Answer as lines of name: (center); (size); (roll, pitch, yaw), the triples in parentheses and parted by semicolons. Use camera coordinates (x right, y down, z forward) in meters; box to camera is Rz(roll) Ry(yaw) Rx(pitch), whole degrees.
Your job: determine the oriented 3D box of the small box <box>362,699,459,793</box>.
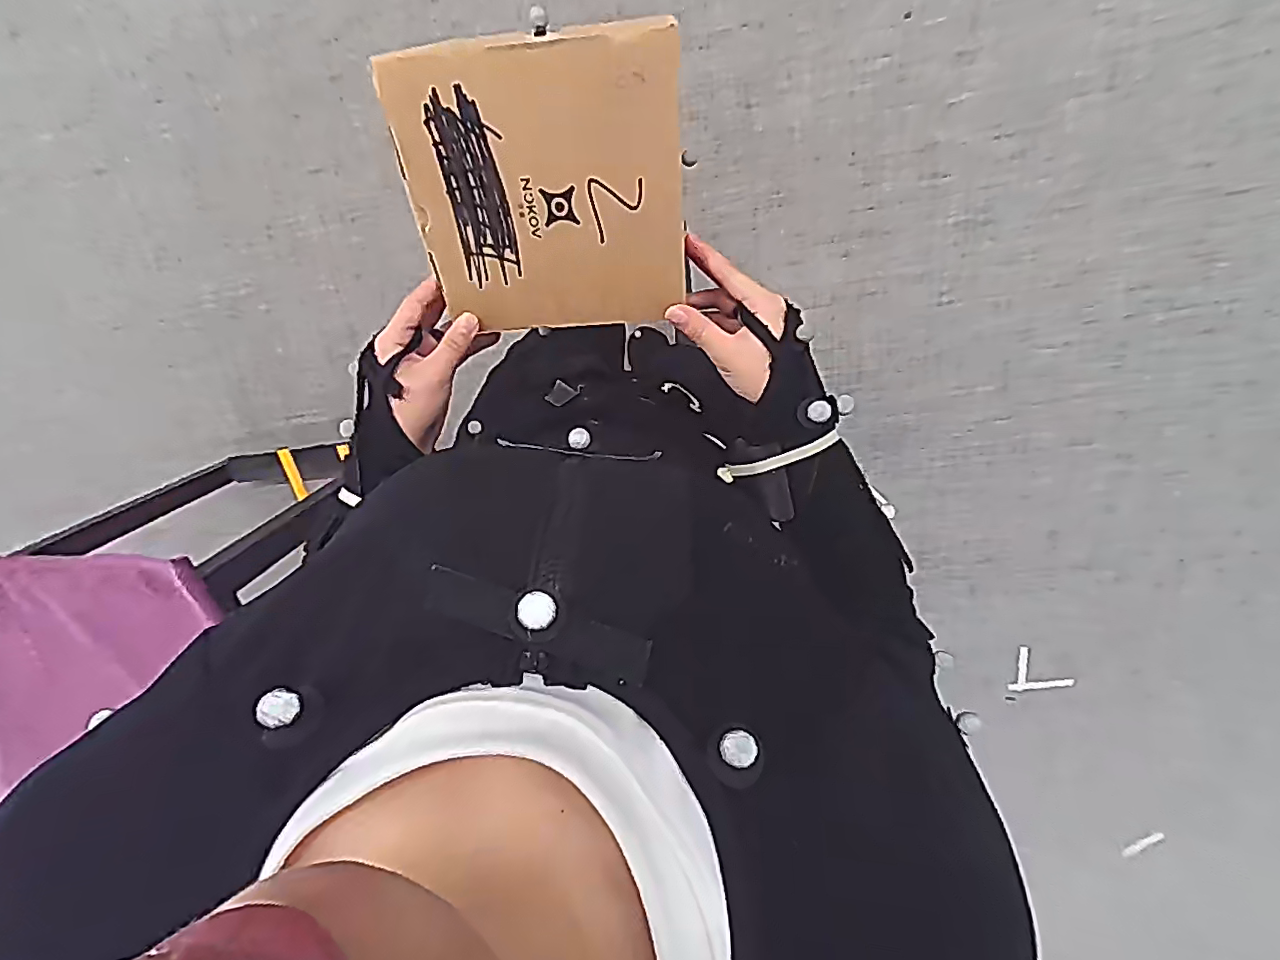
small box: (-0.649, 0.758, 1.551); (0.179, 0.176, 0.168); (-10, 111, 6)
